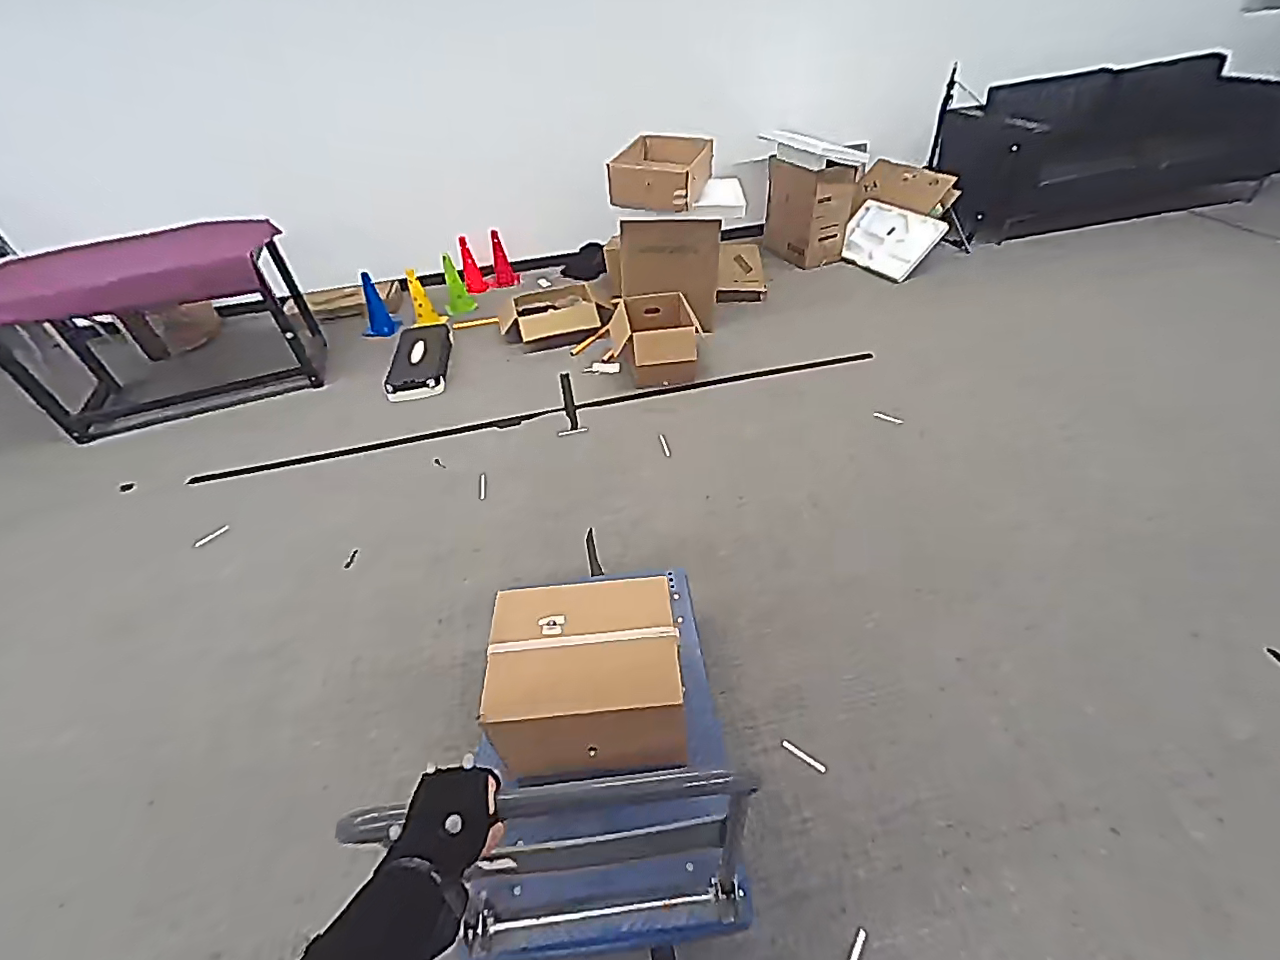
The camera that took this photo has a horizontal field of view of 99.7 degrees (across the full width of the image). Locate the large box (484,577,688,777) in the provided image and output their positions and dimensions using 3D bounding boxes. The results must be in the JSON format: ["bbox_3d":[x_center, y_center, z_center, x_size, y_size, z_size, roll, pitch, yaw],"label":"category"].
[{"bbox_3d":[-0.110,0.466,1.276,0.408,0.320,0.320,-7,41,0],"label":"large box"}]
